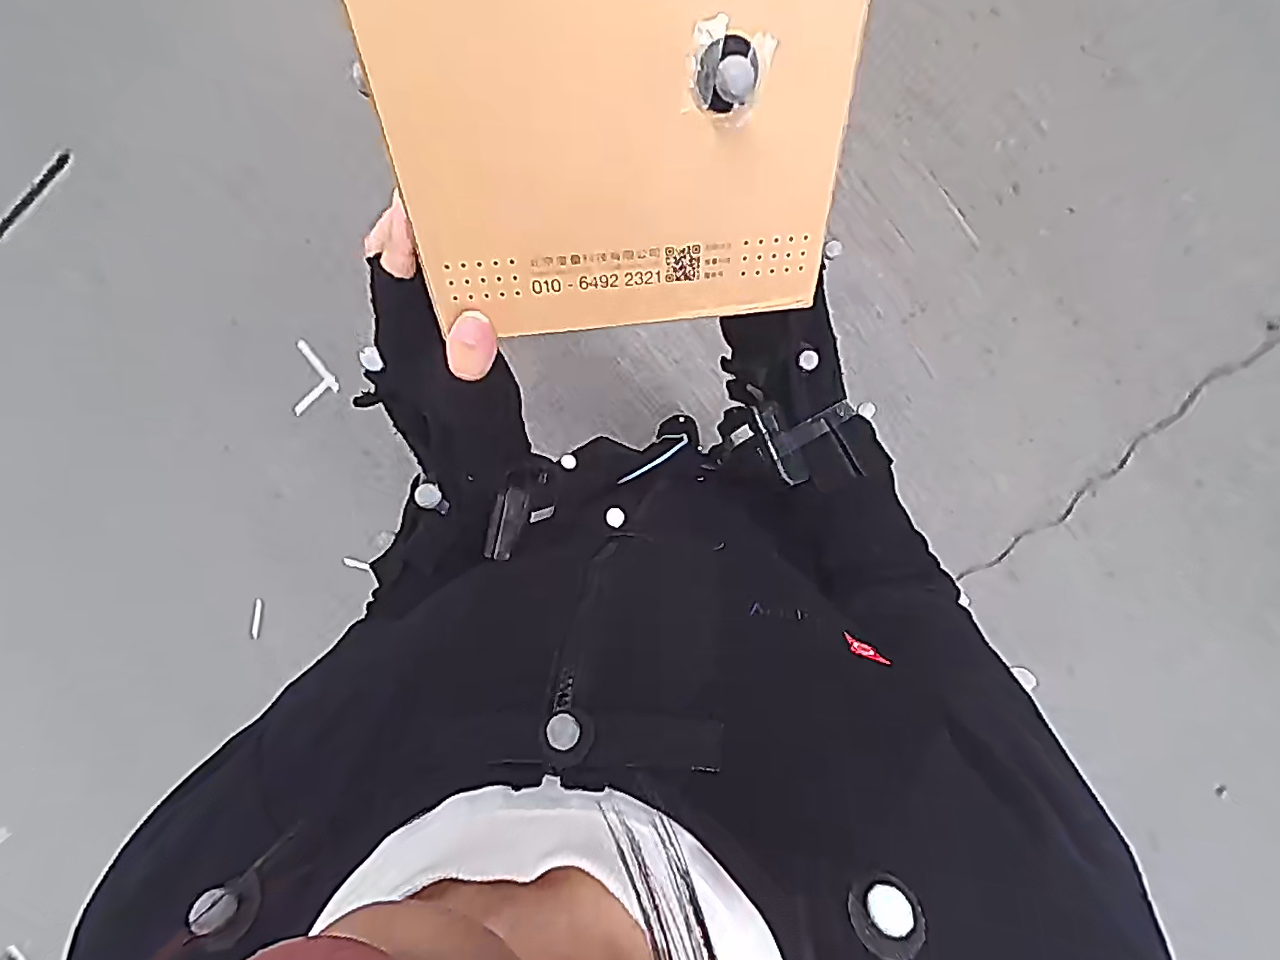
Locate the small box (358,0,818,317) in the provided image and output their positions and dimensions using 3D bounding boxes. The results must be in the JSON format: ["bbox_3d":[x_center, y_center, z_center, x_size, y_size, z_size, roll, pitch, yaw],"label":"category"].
[{"bbox_3d":[-0.021,-0.191,0.269,0.168,0.179,0.176,-7,132,-4],"label":"small box"}]
